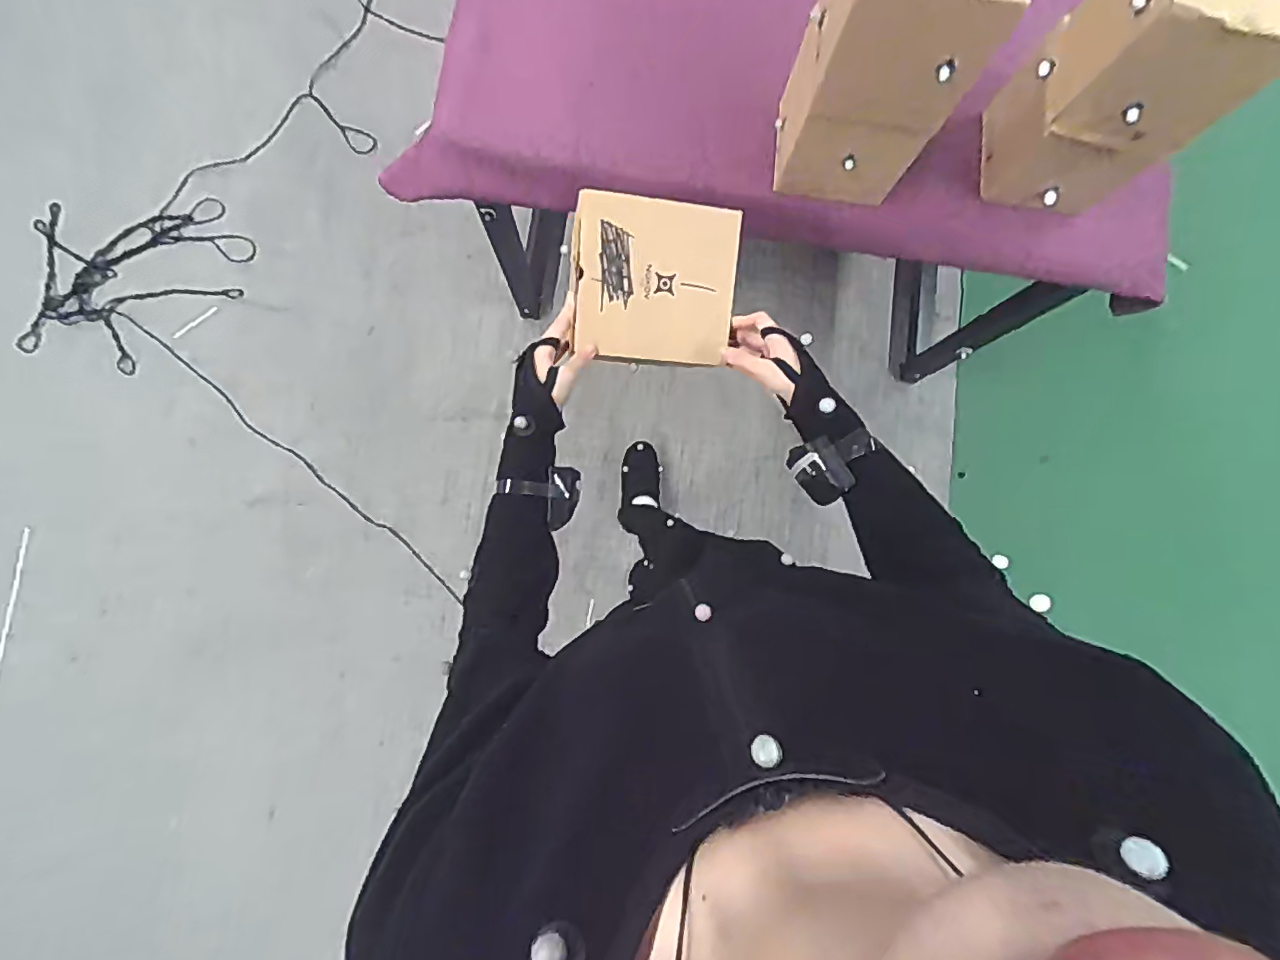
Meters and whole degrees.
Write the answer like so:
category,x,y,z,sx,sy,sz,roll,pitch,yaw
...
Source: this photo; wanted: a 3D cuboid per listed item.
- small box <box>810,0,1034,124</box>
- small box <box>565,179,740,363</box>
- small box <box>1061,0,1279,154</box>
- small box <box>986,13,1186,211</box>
category,x,y,z,sx,sy,sz,roll,pitch,yaw
small box,0.316,-0.554,0.625,0.179,0.176,0.168,8,81,0
small box,0.002,-0.231,0.645,0.179,0.176,0.168,3,100,-10
small box,0.643,-0.533,0.633,0.168,0.176,0.179,16,83,1
small box,0.655,-0.528,0.799,0.179,0.176,0.168,8,81,0
